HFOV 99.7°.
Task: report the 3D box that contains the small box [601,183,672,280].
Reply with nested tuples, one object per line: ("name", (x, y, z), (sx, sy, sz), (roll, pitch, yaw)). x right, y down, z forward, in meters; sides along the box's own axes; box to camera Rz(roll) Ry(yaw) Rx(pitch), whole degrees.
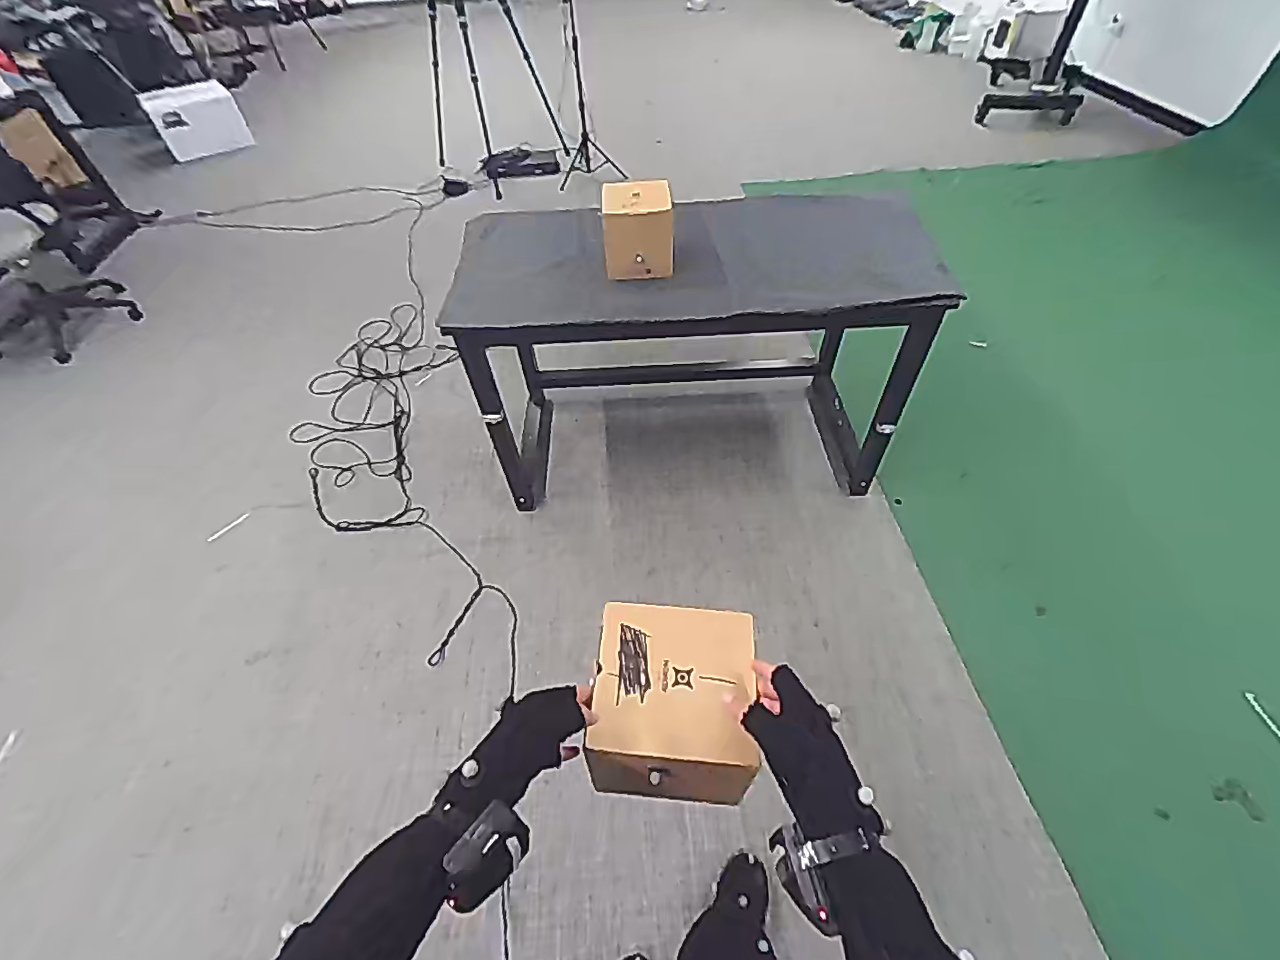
("small box", (-0.007, -0.625, 1.364), (0.168, 0.176, 0.179), (-3, 50, 1))

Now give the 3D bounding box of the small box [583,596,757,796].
("small box", (0.037, 0.258, 0.641), (0.179, 0.176, 0.168), (5, 47, 4))
